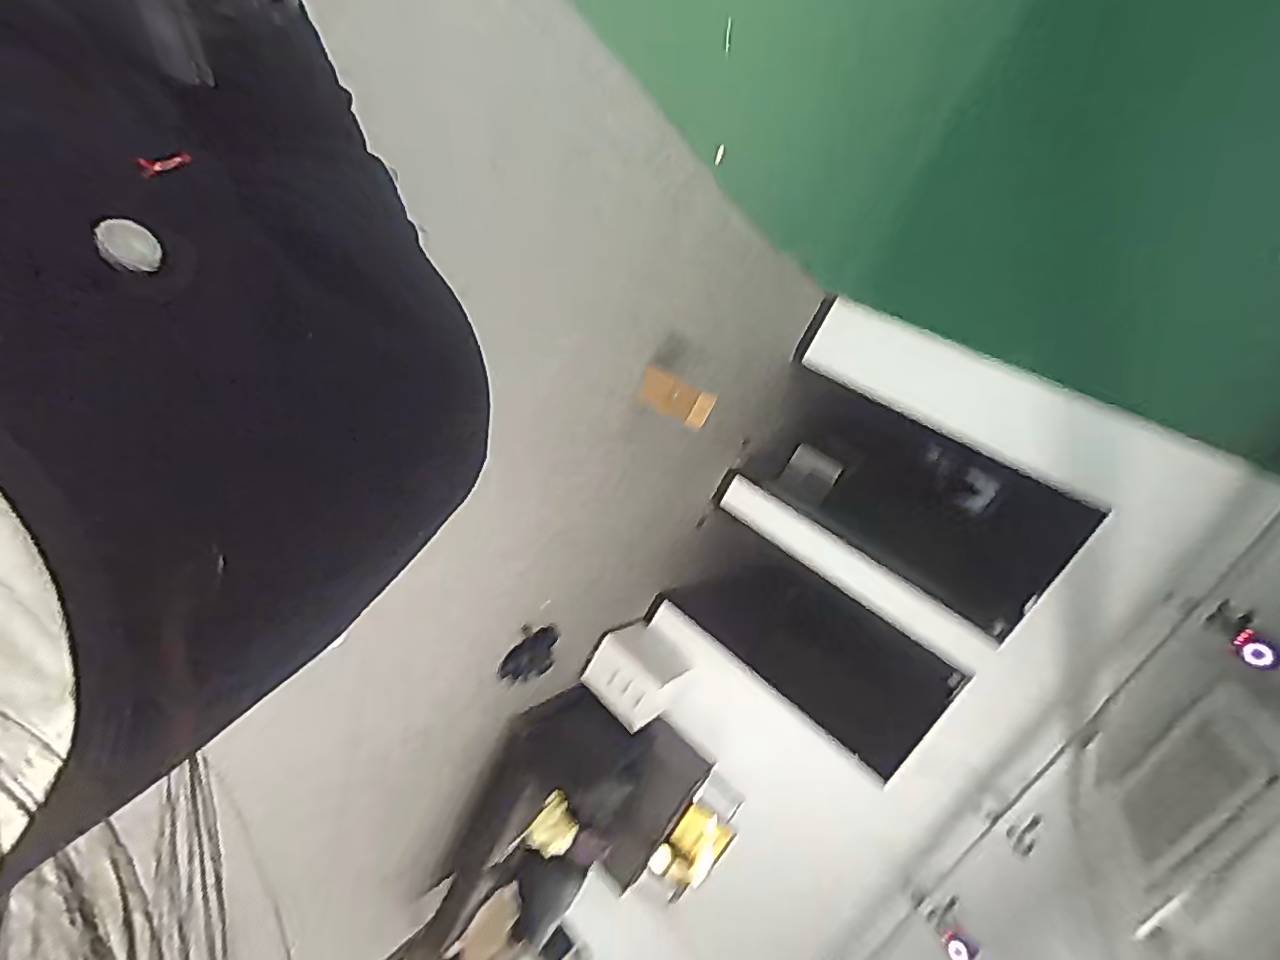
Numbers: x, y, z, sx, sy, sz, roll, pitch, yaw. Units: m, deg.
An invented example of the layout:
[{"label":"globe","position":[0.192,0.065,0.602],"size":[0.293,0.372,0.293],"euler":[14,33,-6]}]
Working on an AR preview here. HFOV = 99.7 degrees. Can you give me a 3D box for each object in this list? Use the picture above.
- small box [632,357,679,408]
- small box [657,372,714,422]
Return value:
[{"label":"small box","position":[0.087,-0.473,2.627],"size":[0.168,0.176,0.179],"euler":[4,118,-60]},{"label":"small box","position":[0.215,-0.394,2.562],"size":[0.179,0.176,0.168],"euler":[4,116,-58]}]
